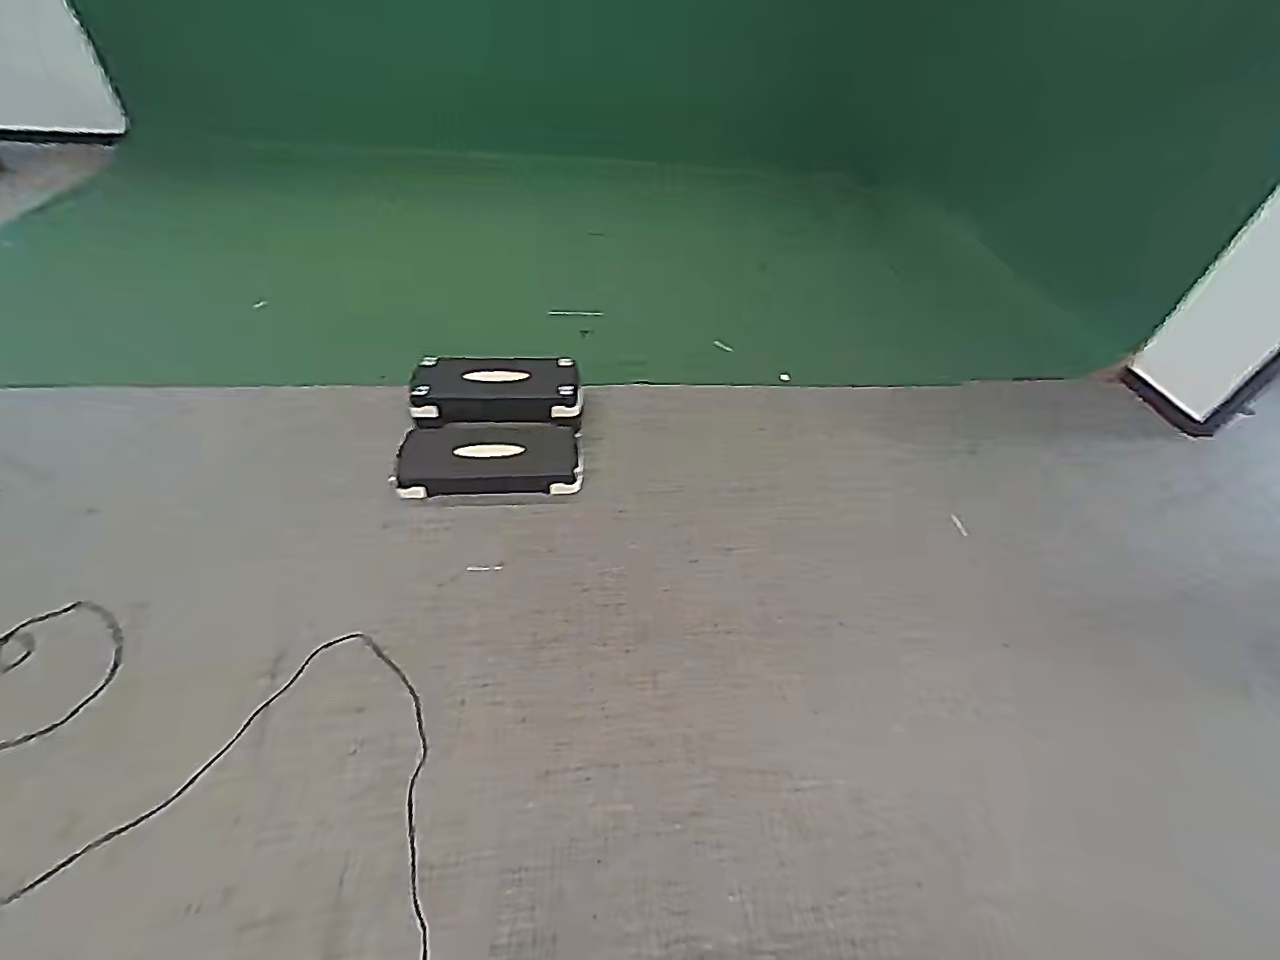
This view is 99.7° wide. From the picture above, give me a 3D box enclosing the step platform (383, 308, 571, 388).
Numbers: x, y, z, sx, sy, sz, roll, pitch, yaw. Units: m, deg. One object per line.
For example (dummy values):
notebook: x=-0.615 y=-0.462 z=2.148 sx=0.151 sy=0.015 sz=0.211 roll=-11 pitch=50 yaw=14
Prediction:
step platform: x=-0.614 y=-0.514 z=2.117 sx=0.684 sy=0.204 sz=0.286 roll=-2 pitch=47 yaw=-6
